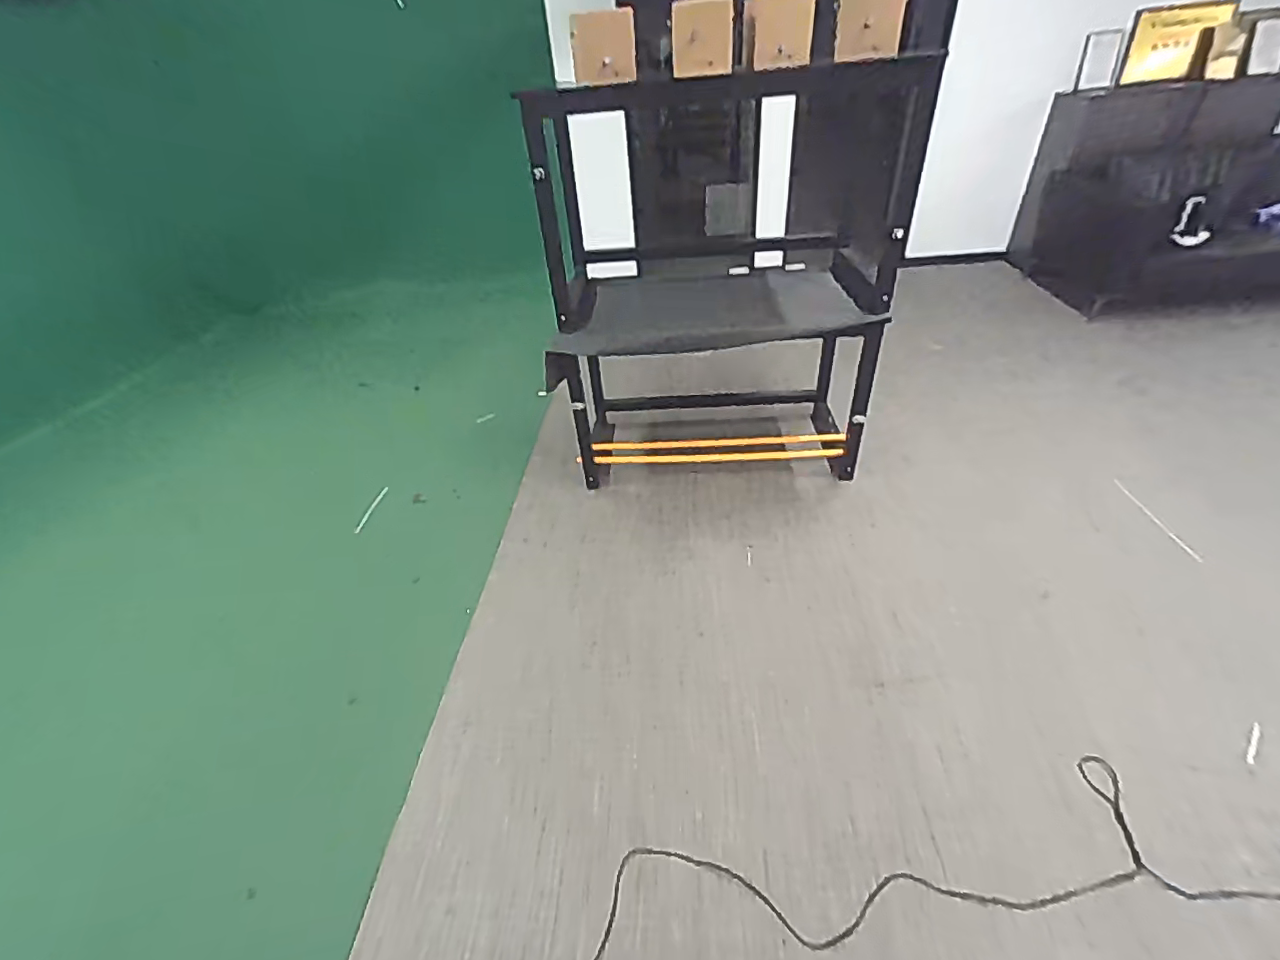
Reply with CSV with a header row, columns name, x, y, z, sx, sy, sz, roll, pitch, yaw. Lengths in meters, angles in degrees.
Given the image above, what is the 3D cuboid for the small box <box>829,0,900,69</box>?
name,x,y,z,sx,sy,sz,roll,pitch,yaw
small box,0.644,-1.301,1.560,0.168,0.176,0.179,5,39,13

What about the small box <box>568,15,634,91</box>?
name,x,y,z,sx,sy,sz,roll,pitch,yaw
small box,-0.119,-1.286,1.634,0.168,0.176,0.179,-11,39,-8
